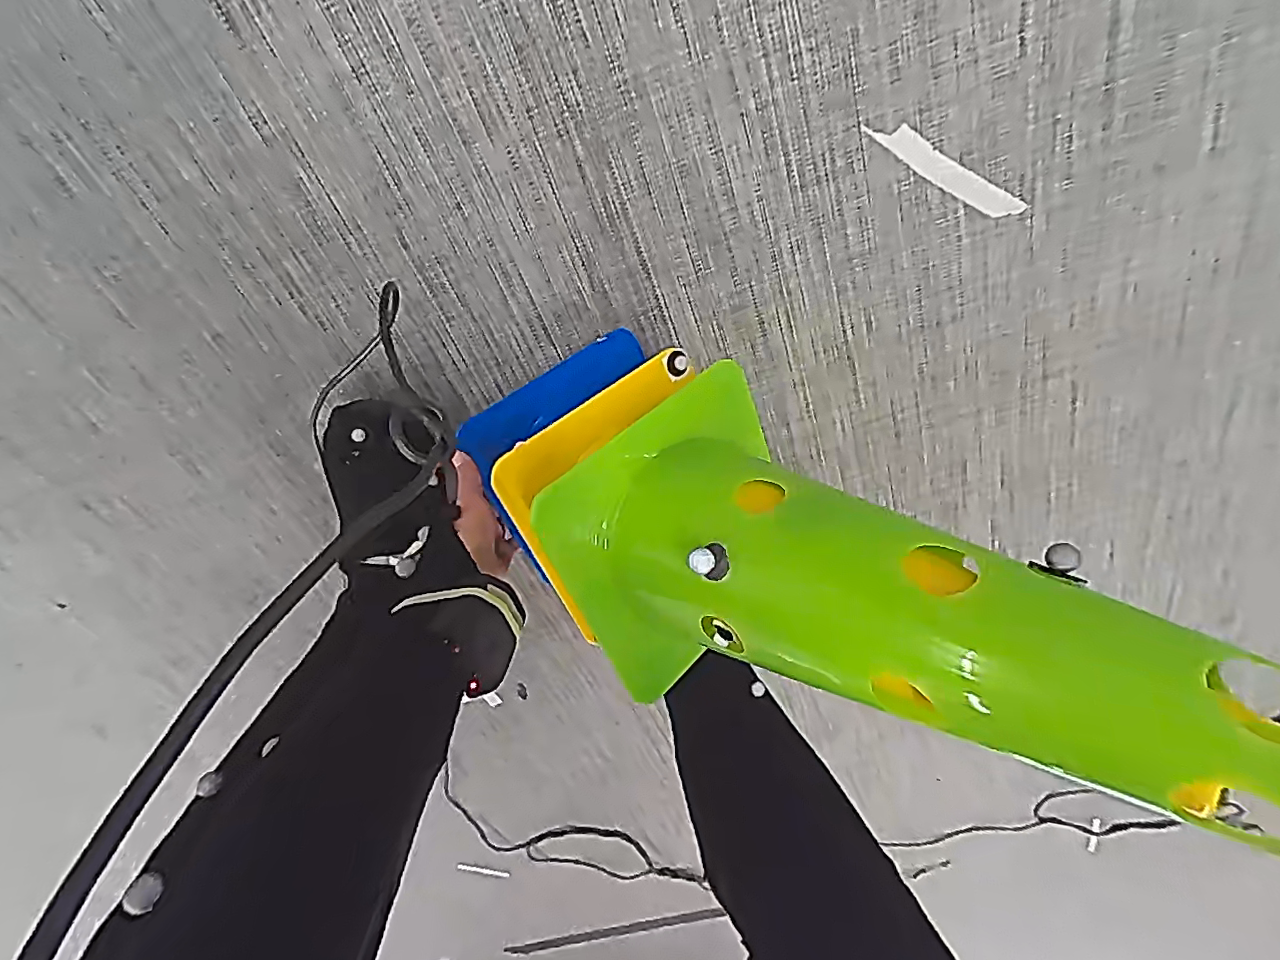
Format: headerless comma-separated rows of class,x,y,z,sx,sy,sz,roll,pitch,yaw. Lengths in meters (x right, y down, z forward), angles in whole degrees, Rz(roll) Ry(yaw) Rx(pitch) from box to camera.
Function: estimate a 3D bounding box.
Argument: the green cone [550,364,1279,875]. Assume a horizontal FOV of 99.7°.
green cone,0.148,0.071,0.261,0.202,0.368,0.200,-39,120,-24
